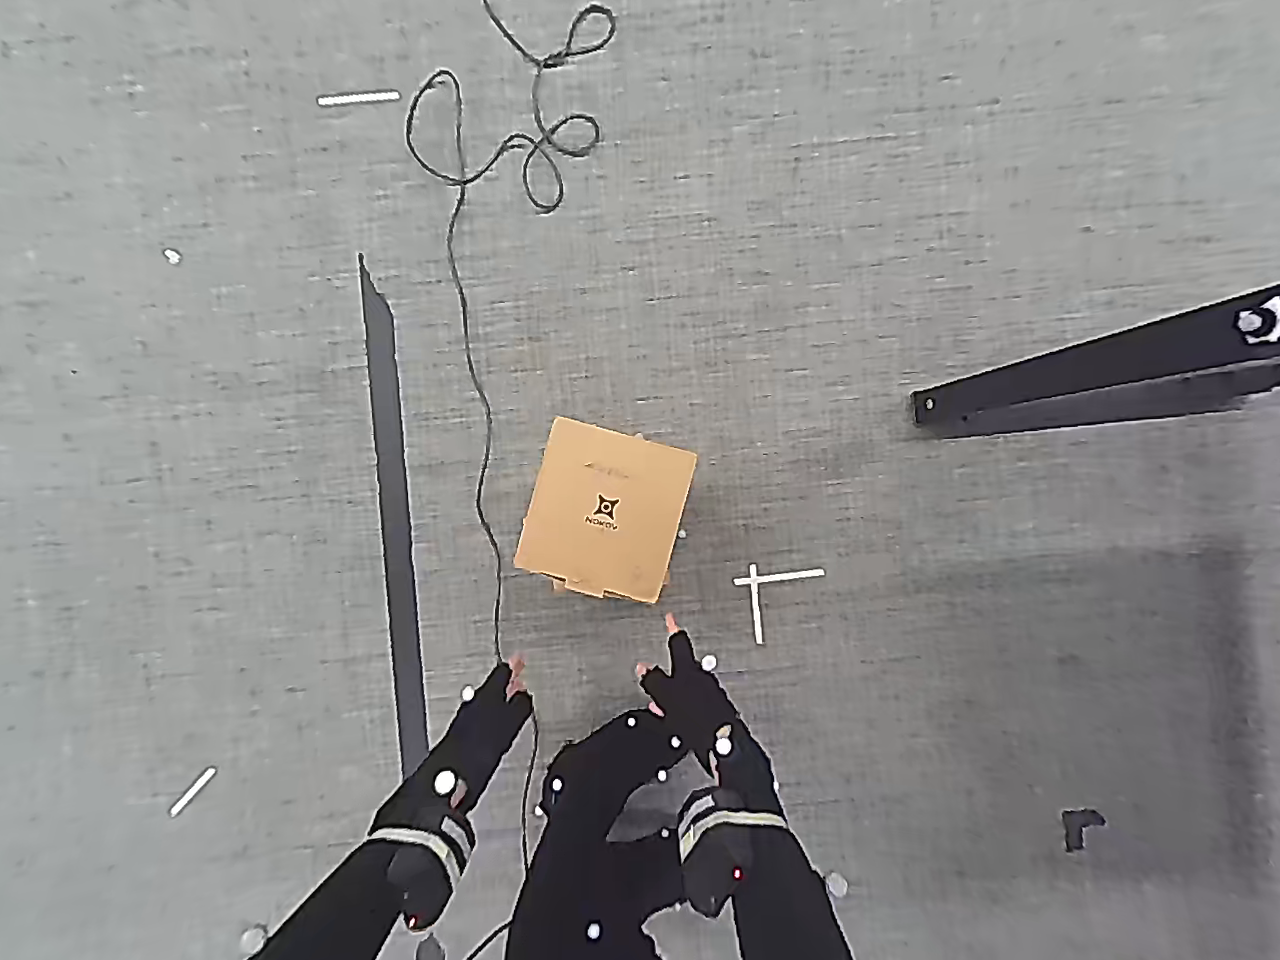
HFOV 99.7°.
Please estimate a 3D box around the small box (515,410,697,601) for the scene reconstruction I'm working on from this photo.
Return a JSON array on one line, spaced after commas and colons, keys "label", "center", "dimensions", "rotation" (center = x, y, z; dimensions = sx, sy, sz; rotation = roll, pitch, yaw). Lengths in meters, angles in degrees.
[{"label": "small box", "center": [-0.038, 0.029, 0.669], "dimensions": [0.168, 0.176, 0.179], "rotation": [16, 88, -1]}]
